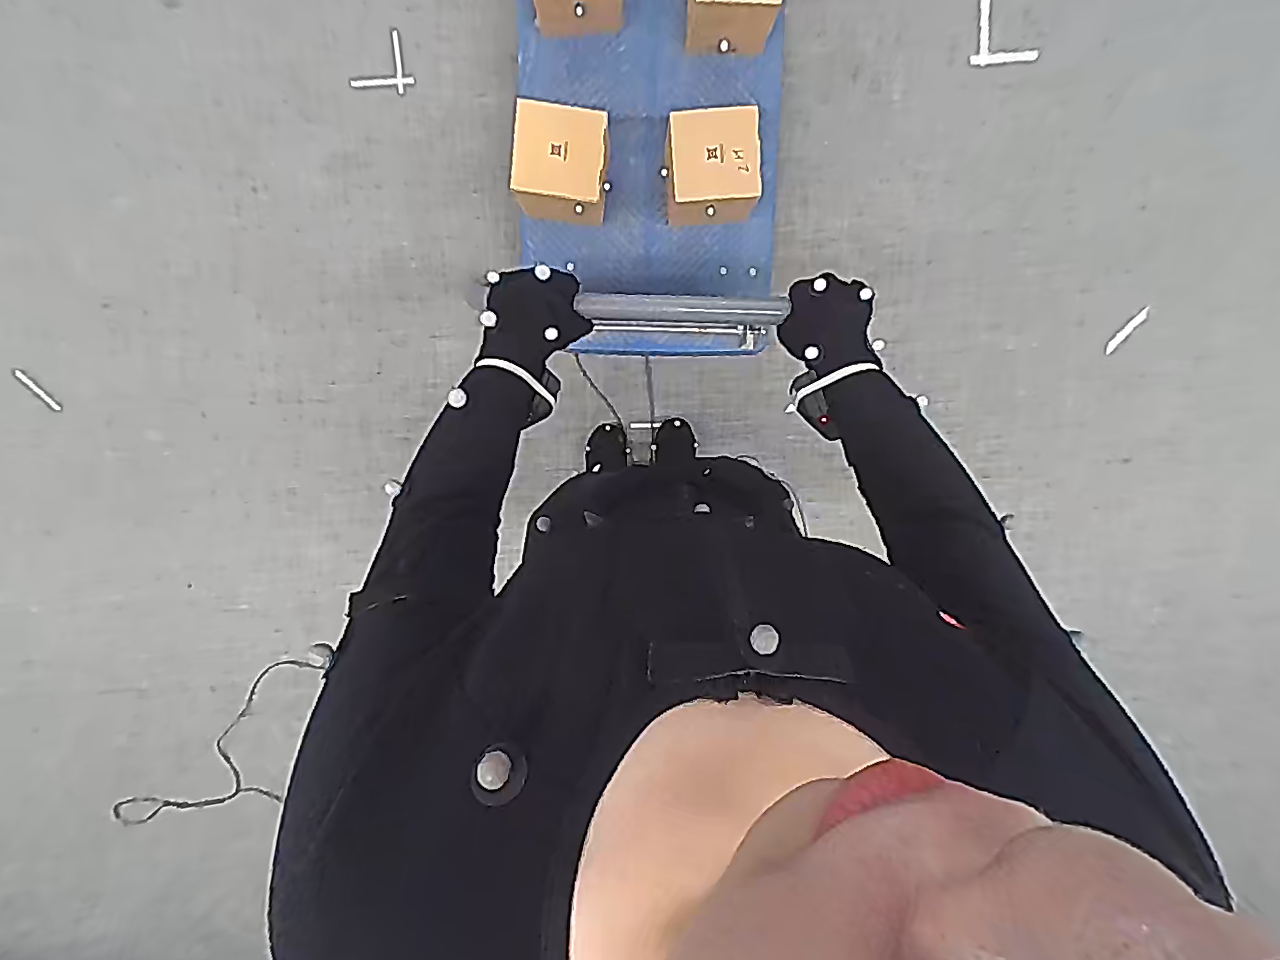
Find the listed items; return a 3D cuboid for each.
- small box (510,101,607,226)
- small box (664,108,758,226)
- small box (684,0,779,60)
[{"bbox_3d":[-0.164,-0.651,1.132,0.179,0.176,0.168,6,98,-4],"label":"small box"},{"bbox_3d":[0.142,-0.650,1.142,0.179,0.176,0.168,-5,99,-1],"label":"small box"},{"bbox_3d":[0.180,-0.996,1.088,0.168,0.176,0.179,1,100,-2],"label":"small box"}]
